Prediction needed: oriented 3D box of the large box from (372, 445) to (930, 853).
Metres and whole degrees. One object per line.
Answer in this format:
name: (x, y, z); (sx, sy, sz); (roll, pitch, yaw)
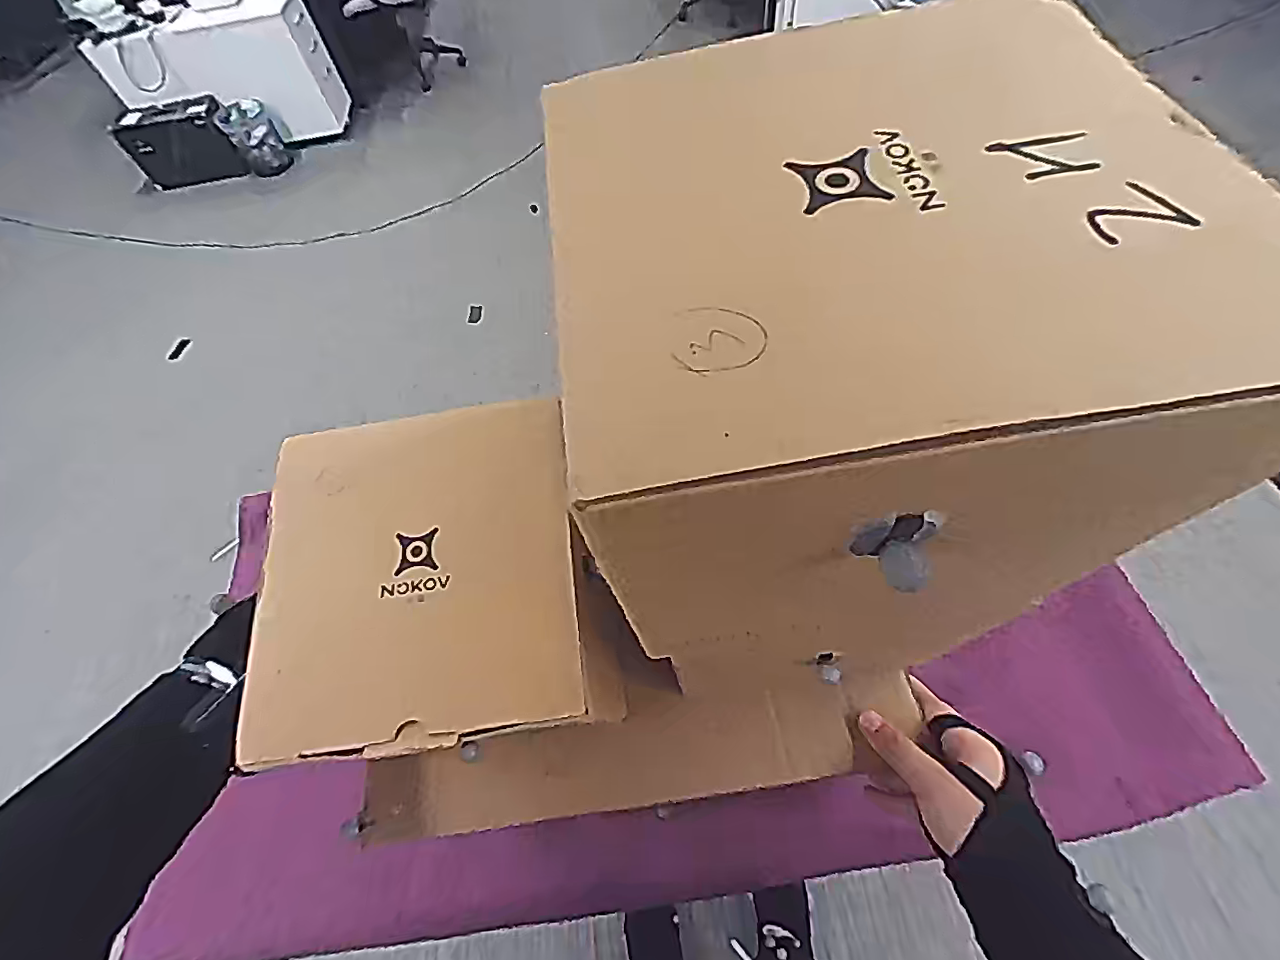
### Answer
large box: (0.001, 0.160, 0.574); (0.408, 0.320, 0.320); (-10, 60, 1)

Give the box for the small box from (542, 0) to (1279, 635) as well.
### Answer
small box: (0.070, -0.046, 0.213); (0.179, 0.176, 0.168); (-9, 61, 2)
